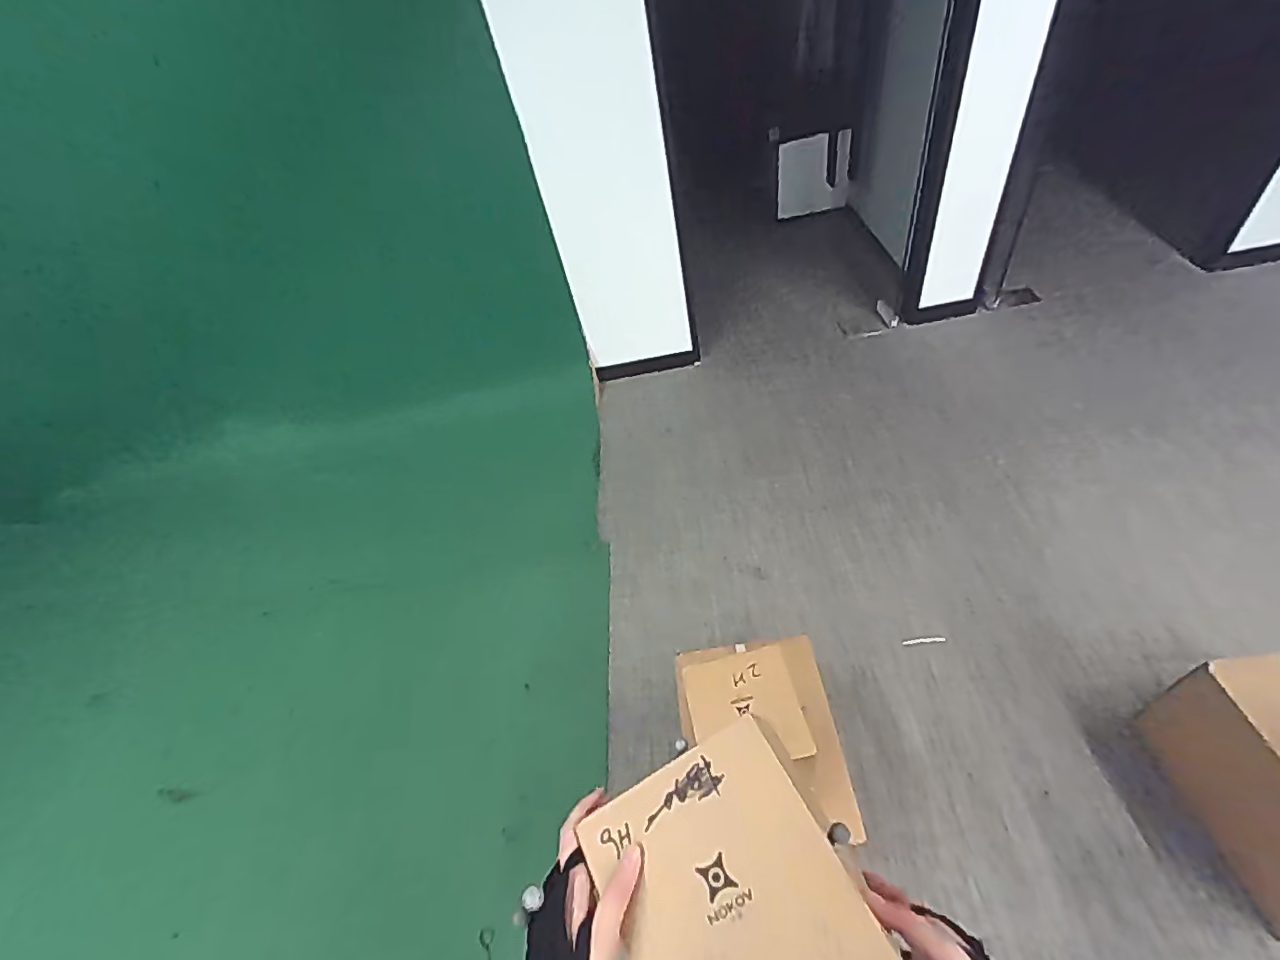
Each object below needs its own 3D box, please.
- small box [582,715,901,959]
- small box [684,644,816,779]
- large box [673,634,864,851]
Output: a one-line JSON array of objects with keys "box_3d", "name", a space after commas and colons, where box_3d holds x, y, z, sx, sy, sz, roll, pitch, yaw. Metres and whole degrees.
[{"box_3d": [0.084, 0.318, 0.451, 0.168, 0.176, 0.179, -33, 61, 1], "name": "small box"}, {"box_3d": [0.177, 0.398, 0.879, 0.168, 0.176, 0.179, -14, 45, 2], "name": "small box"}, {"box_3d": [0.269, 0.620, 1.216, 0.320, 0.320, 0.408, -10, 46, 6], "name": "large box"}]
